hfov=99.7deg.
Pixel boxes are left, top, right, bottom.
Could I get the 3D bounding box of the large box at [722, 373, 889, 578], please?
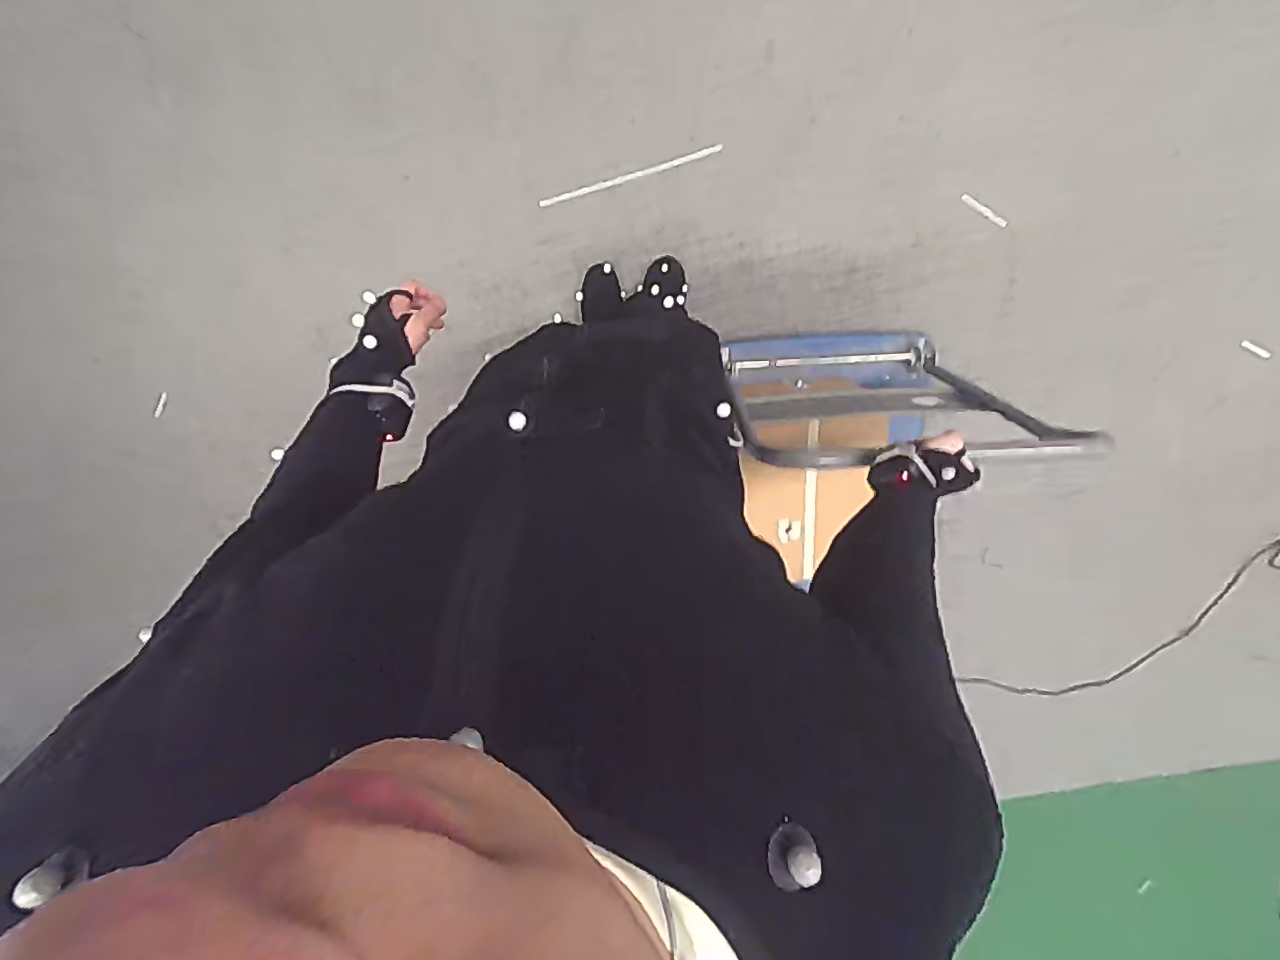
[{"bbox_3d":[0.375,-0.020,1.317,0.320,0.320,0.408,-3,113,4],"label":"large box"}]
